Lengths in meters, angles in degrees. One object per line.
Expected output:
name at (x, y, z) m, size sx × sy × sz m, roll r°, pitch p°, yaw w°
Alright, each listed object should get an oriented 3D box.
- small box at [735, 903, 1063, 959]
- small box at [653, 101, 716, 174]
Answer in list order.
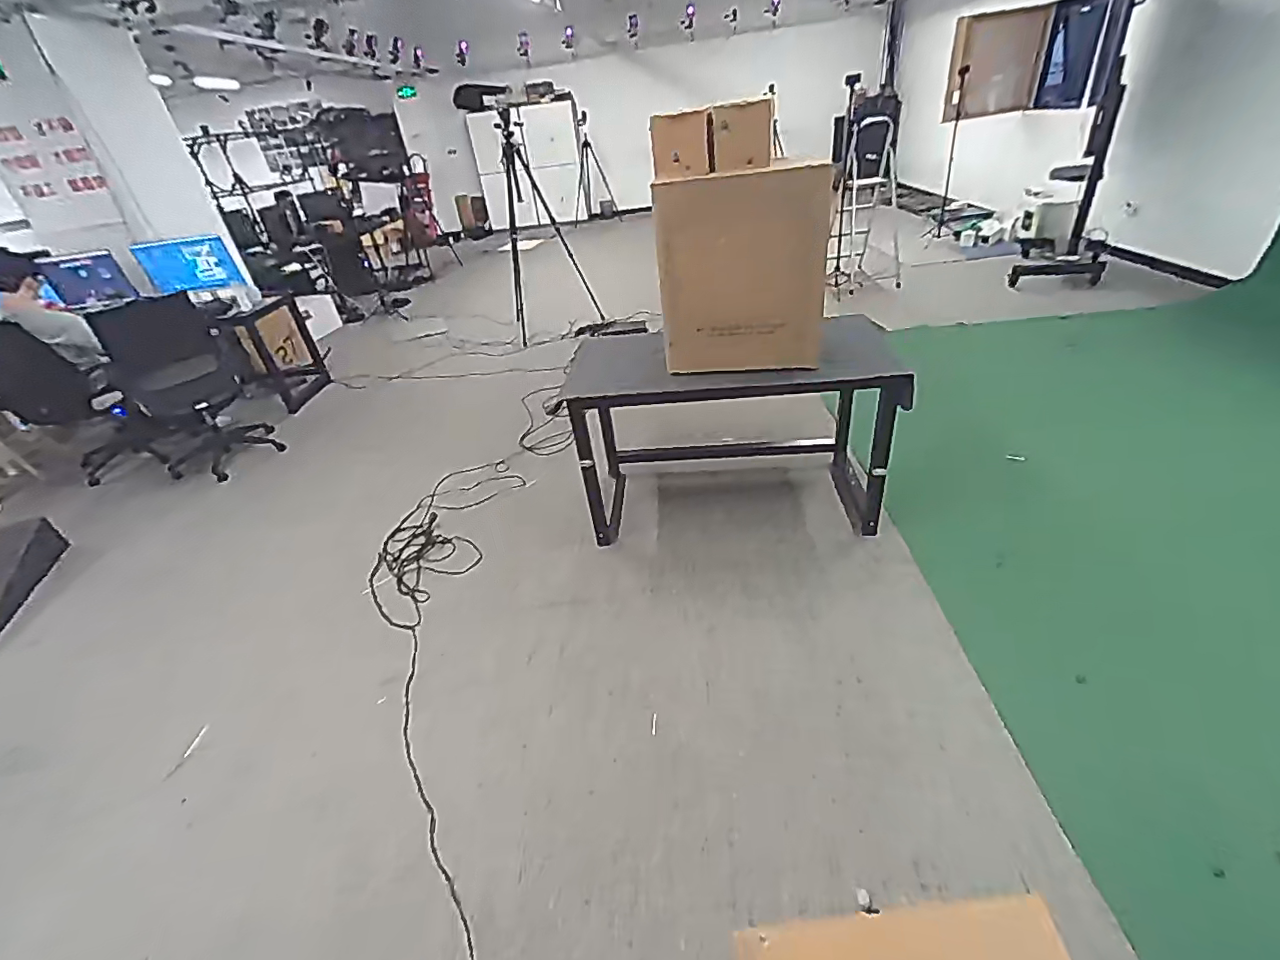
small box at (0.159, 0.371, 0.317) m, size 0.168 × 0.176 × 0.179 m, roll -4°, pitch 50°, yaw -3°
small box at (0.141, -1.042, 1.648) m, size 0.168 × 0.176 × 0.179 m, roll 2°, pitch 38°, yaw 14°
